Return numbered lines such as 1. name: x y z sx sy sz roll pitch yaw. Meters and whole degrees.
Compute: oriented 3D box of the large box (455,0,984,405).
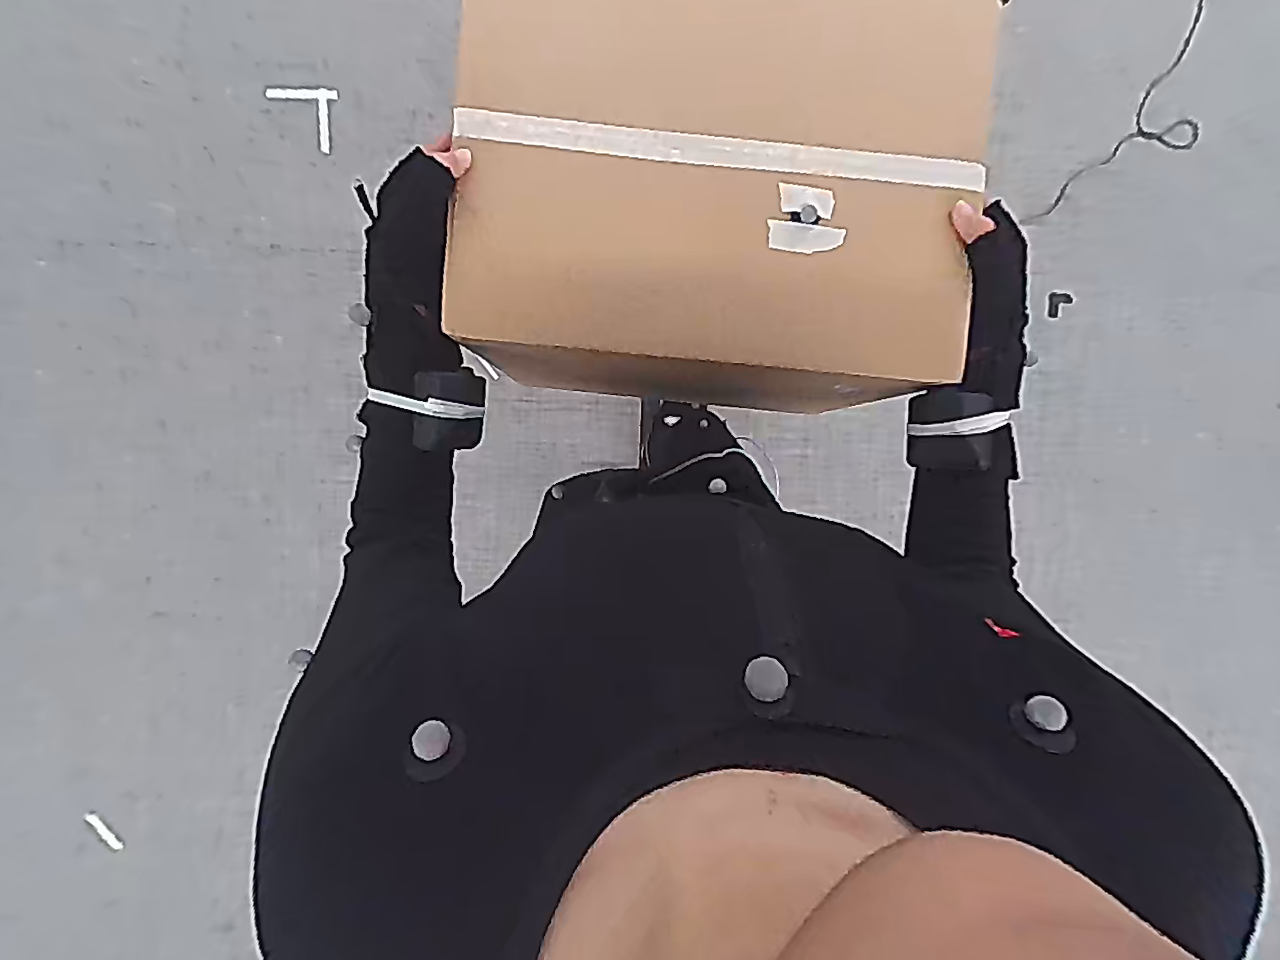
1. large box: 0.054 -0.258 0.570 0.408 0.320 0.320 5 94 -3
